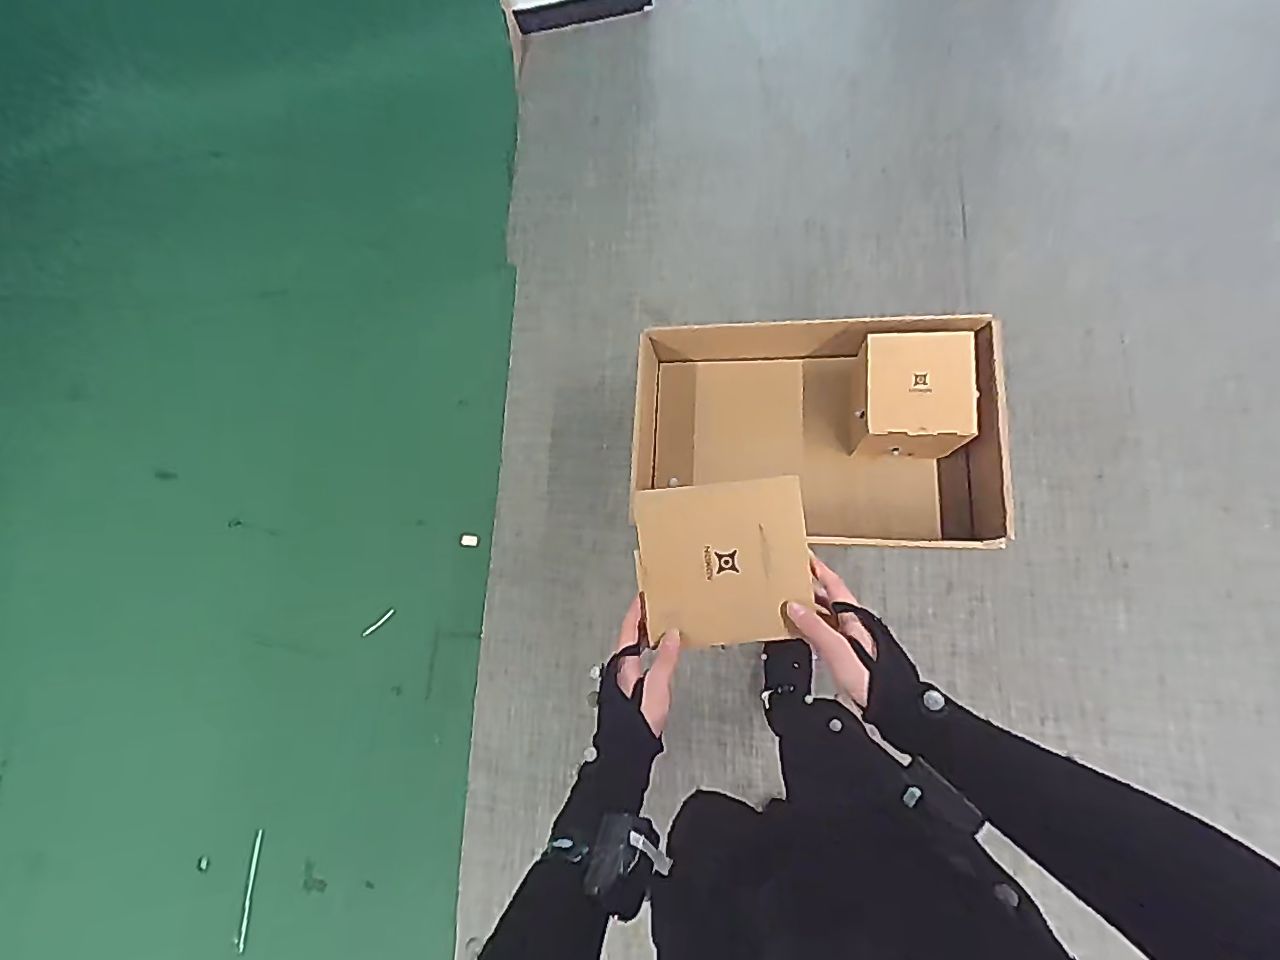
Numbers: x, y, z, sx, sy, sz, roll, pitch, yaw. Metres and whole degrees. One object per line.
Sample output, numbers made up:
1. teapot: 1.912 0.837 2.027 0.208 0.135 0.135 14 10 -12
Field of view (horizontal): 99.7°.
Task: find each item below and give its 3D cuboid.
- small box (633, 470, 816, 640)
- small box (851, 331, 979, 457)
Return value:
1. small box: 0.092 0.084 0.633 0.179 0.176 0.168 -6 86 4
2. small box: 0.473 -0.145 0.954 0.168 0.176 0.179 2 81 12
